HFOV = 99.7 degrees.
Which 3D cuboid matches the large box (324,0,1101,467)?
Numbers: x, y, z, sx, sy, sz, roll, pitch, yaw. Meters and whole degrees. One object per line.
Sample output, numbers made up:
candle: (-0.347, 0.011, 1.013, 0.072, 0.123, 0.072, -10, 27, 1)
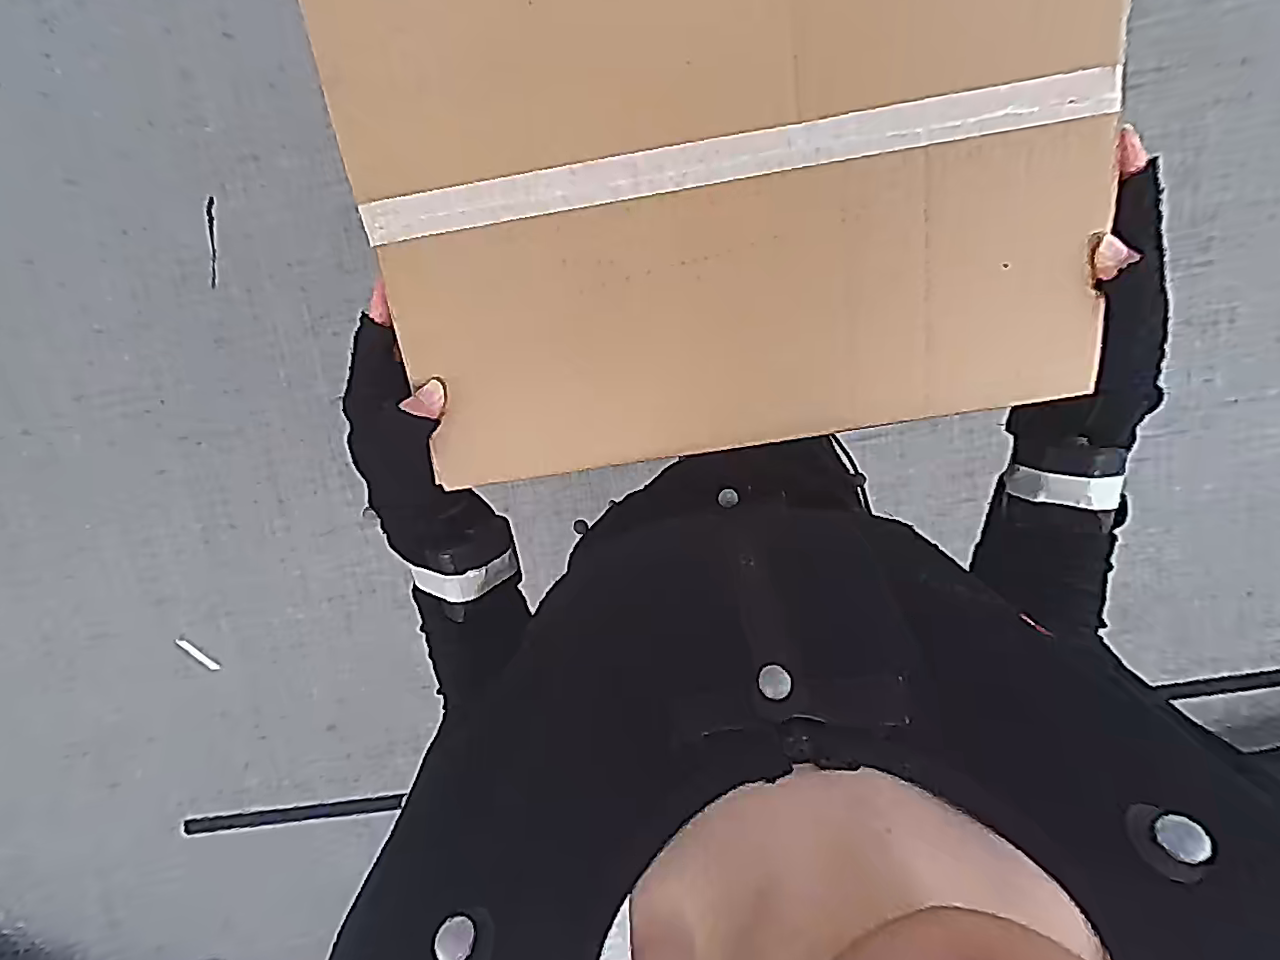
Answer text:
large box: (0.046, -0.225, 0.444, 0.408, 0.320, 0.320, -9, 107, 2)
